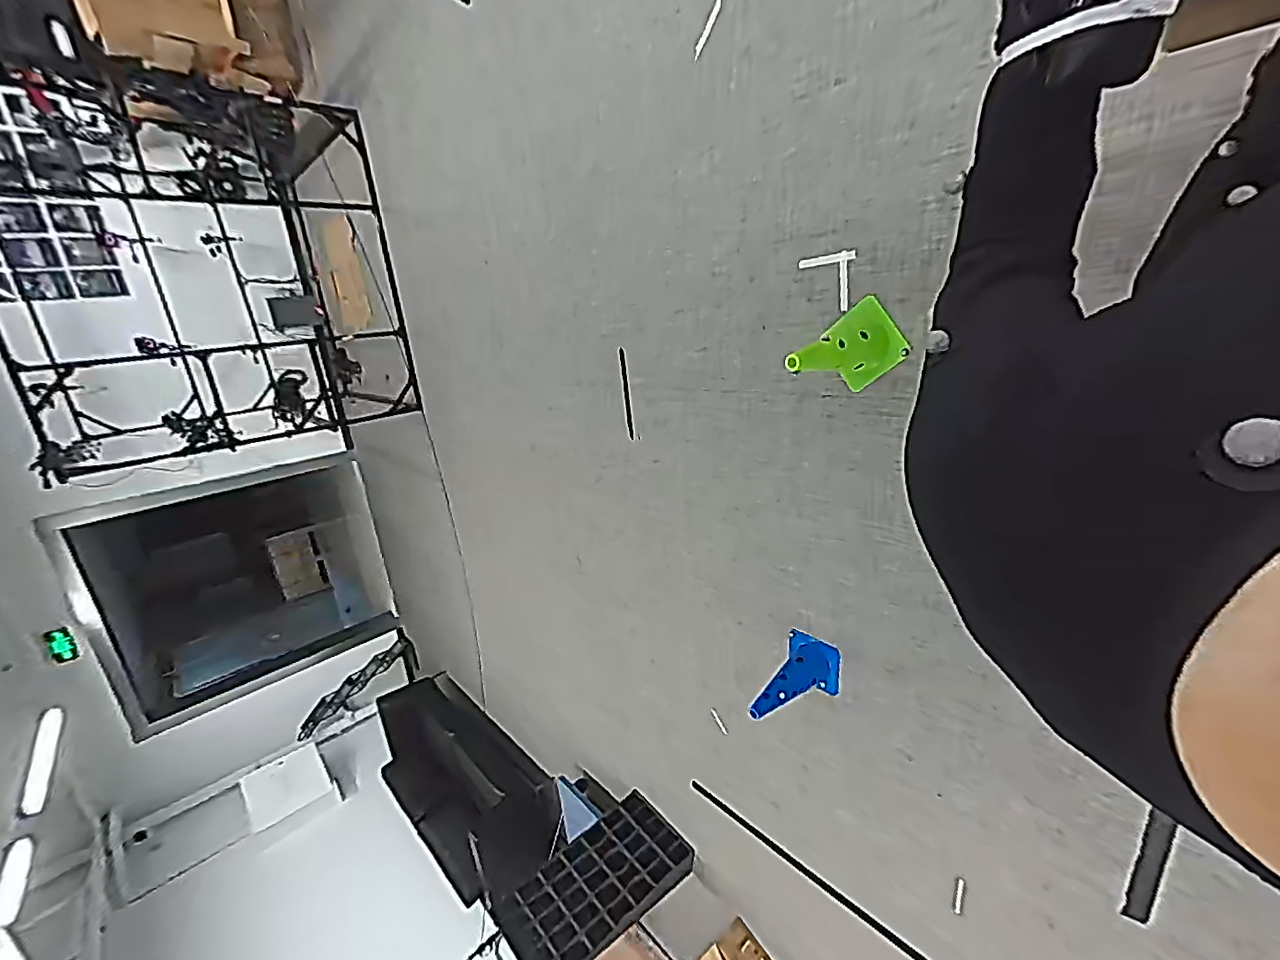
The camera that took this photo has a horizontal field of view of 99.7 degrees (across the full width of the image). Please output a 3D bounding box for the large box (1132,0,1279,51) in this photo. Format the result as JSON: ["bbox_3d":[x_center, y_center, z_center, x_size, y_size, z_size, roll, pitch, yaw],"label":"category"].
[{"bbox_3d":[0.518,-0.477,0.247,0.408,0.320,0.320,11,120,44],"label":"large box"}]

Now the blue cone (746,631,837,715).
[{"bbox_3d":[0.505,0.702,1.866,0.192,0.380,0.193,19,120,46],"label":"blue cone"}]

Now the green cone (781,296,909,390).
[{"bbox_3d":[0.491,-0.331,1.402,0.200,0.368,0.202,61,143,12],"label":"green cone"}]
